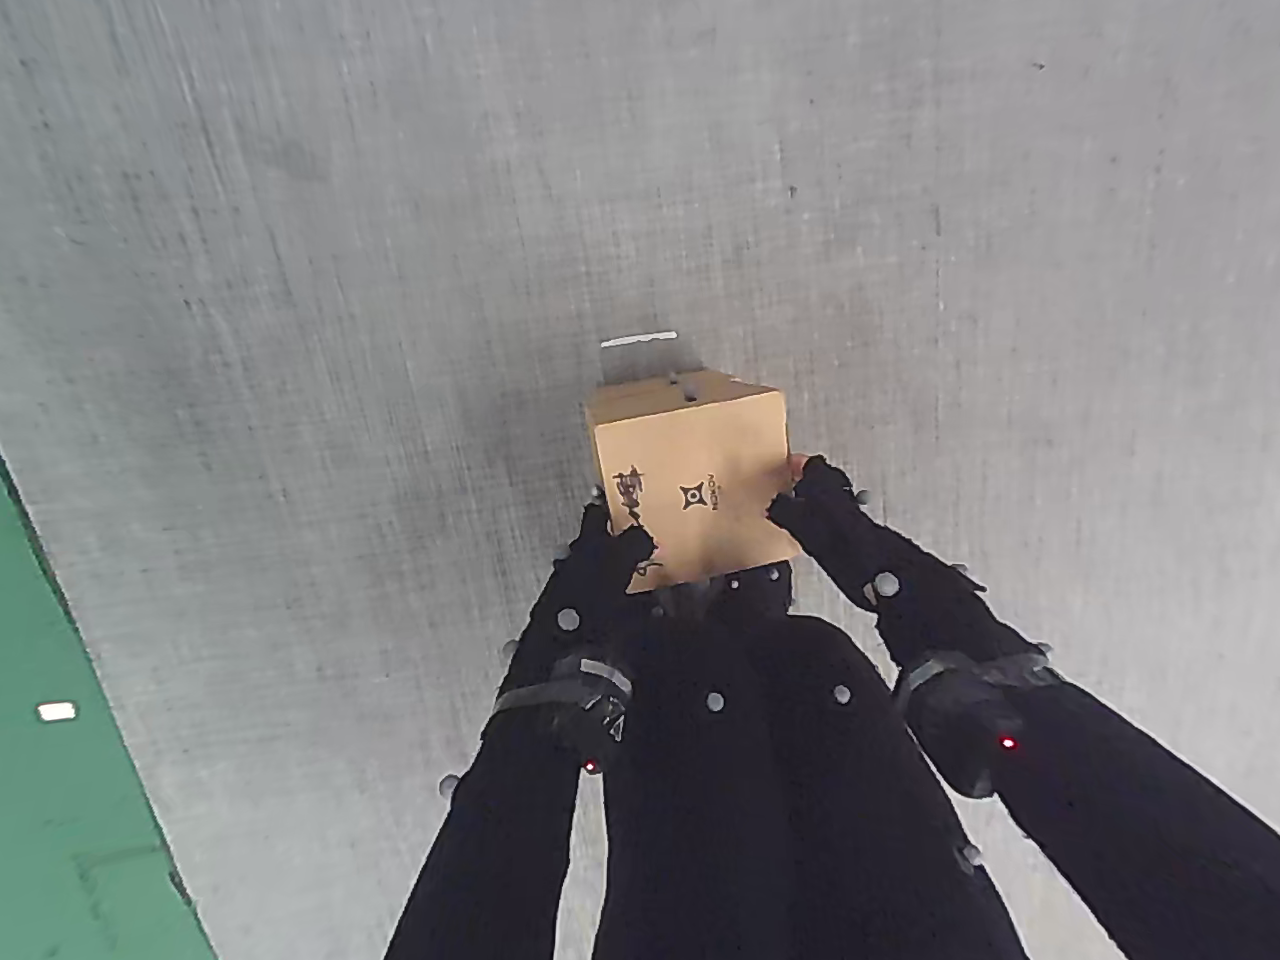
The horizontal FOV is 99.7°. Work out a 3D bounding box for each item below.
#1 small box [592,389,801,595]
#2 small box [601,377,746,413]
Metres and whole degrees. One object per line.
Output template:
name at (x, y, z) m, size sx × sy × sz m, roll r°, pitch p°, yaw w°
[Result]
small box at (0.050, -0.001, 0.577) m, size 0.179 × 0.176 × 0.168 m, roll -11°, pitch 103°, yaw -5°
small box at (0.044, -0.045, 0.738) m, size 0.179 × 0.176 × 0.168 m, roll -9°, pitch 104°, yaw -2°
